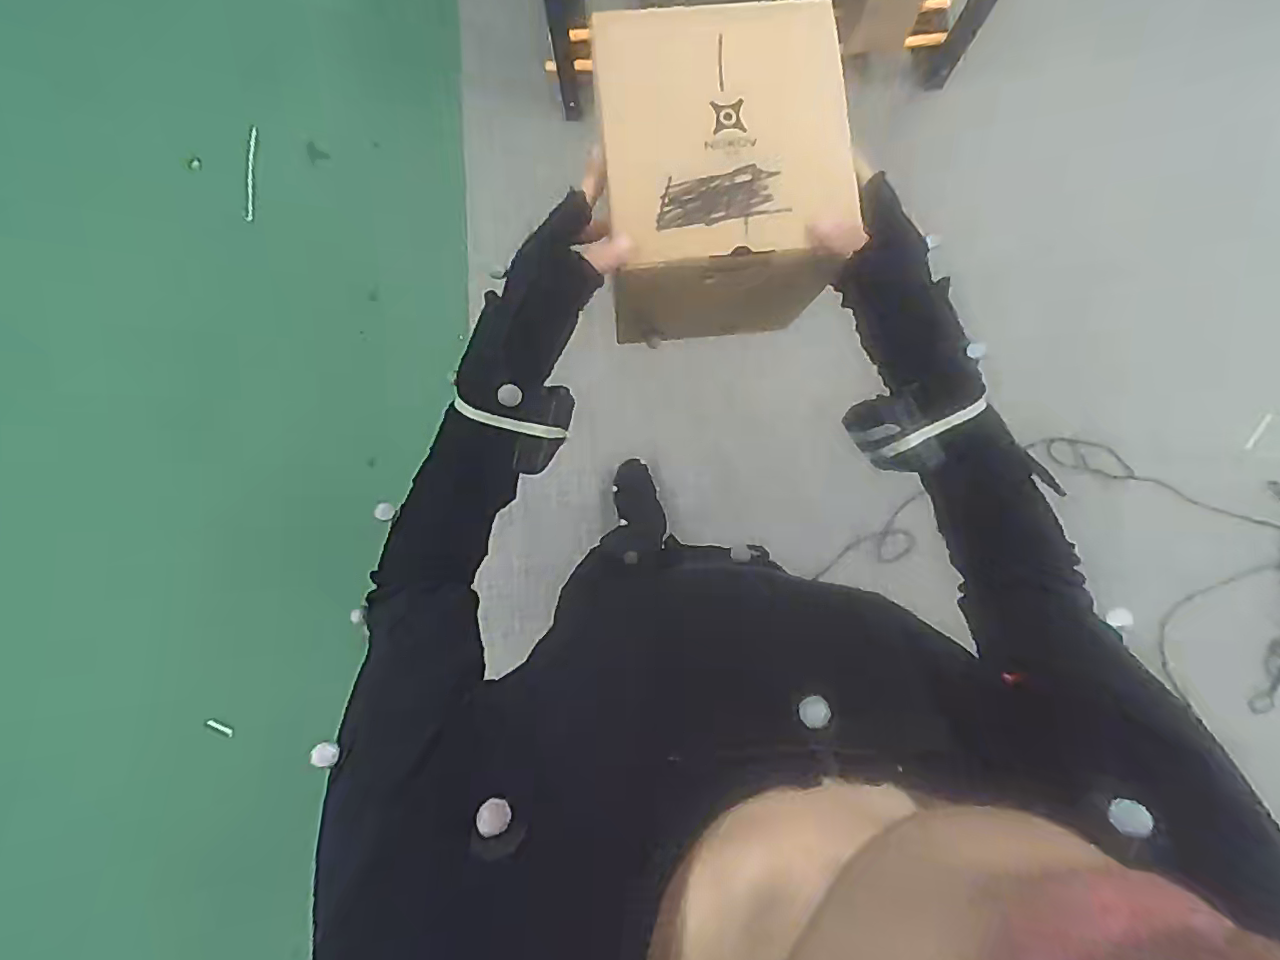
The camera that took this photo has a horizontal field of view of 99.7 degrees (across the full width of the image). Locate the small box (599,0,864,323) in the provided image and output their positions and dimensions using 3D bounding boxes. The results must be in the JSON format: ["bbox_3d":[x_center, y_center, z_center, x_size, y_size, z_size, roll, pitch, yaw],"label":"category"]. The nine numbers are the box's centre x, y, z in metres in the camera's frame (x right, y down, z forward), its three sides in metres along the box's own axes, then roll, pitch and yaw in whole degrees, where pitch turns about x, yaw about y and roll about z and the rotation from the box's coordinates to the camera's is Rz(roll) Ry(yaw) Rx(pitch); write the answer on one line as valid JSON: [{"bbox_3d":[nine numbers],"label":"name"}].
[{"bbox_3d":[0.058,-0.239,0.441,0.168,0.176,0.179,-6,86,-3],"label":"small box"}]
